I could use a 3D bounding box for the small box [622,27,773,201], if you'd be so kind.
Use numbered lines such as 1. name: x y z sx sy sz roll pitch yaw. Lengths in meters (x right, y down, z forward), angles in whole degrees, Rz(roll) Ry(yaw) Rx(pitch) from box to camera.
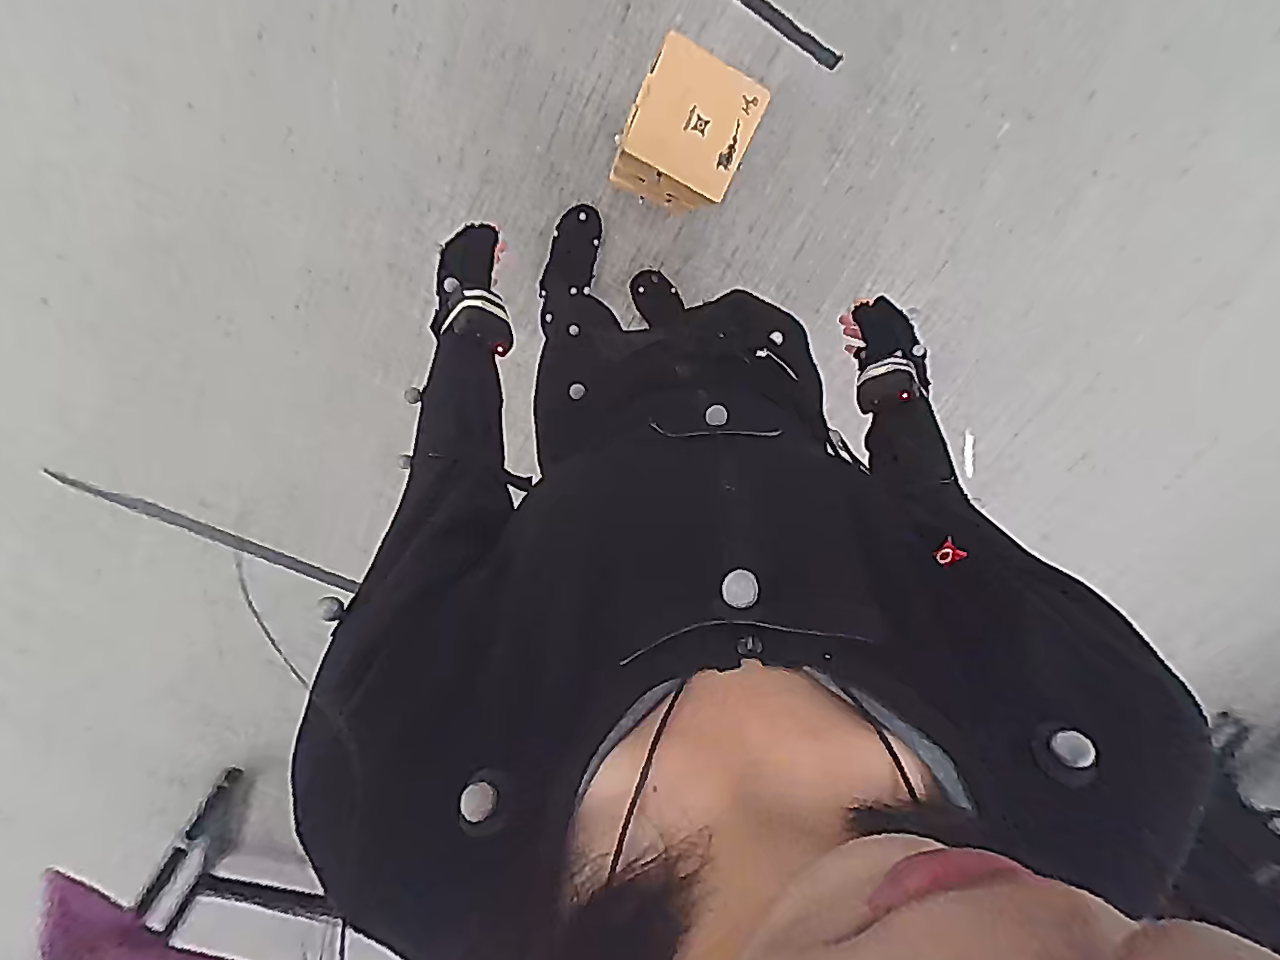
1. small box: 0.079 -0.569 0.874 0.179 0.176 0.168 23 112 -14

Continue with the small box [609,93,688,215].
1. small box: 0.041 -0.696 1.173 0.179 0.176 0.168 19 112 -11

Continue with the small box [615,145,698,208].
1. small box: 0.060 -0.636 1.022 0.168 0.176 0.179 22 111 -15
